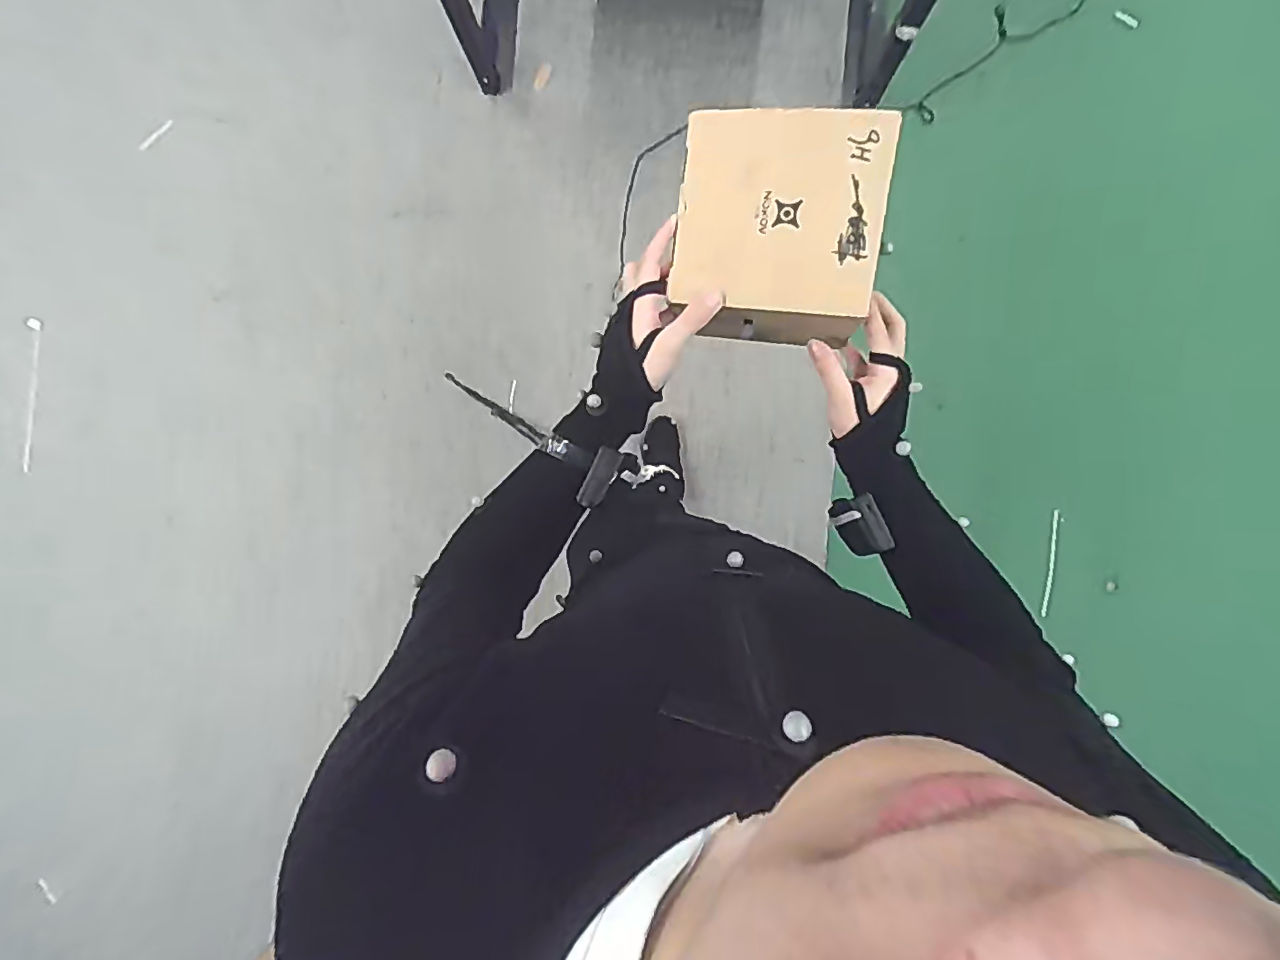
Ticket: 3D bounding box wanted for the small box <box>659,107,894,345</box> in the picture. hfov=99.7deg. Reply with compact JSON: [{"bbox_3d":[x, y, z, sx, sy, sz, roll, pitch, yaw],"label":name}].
[{"bbox_3d":[0.131,-0.236,0.538,0.179,0.176,0.168,9,97,14],"label":"small box"}]
